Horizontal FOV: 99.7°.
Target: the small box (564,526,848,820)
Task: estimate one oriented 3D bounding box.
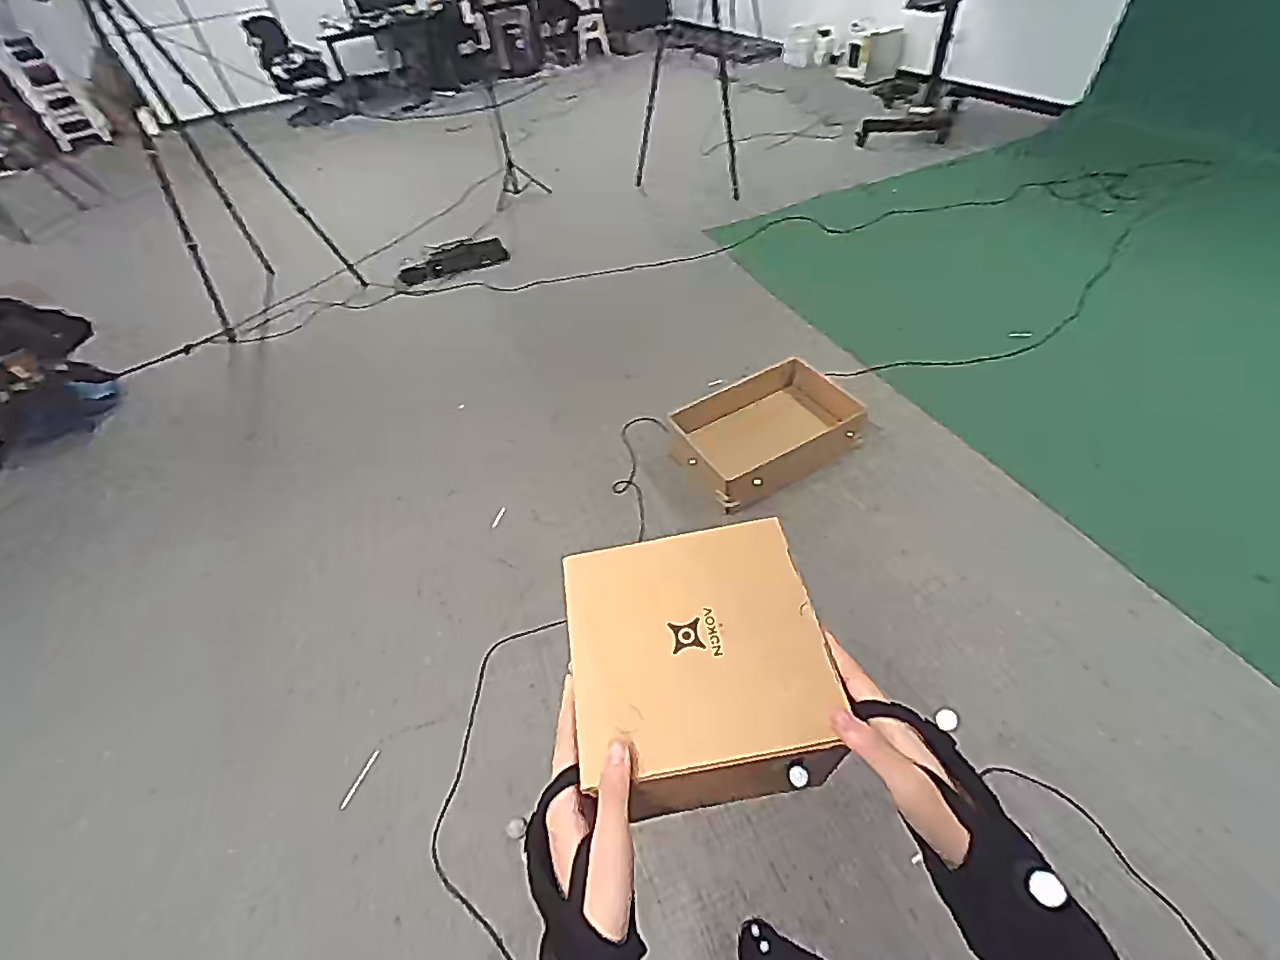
[{"bbox_3d":[0.044,0.163,0.443,0.179,0.176,0.168,-10,51,0],"label":"small box"}]
